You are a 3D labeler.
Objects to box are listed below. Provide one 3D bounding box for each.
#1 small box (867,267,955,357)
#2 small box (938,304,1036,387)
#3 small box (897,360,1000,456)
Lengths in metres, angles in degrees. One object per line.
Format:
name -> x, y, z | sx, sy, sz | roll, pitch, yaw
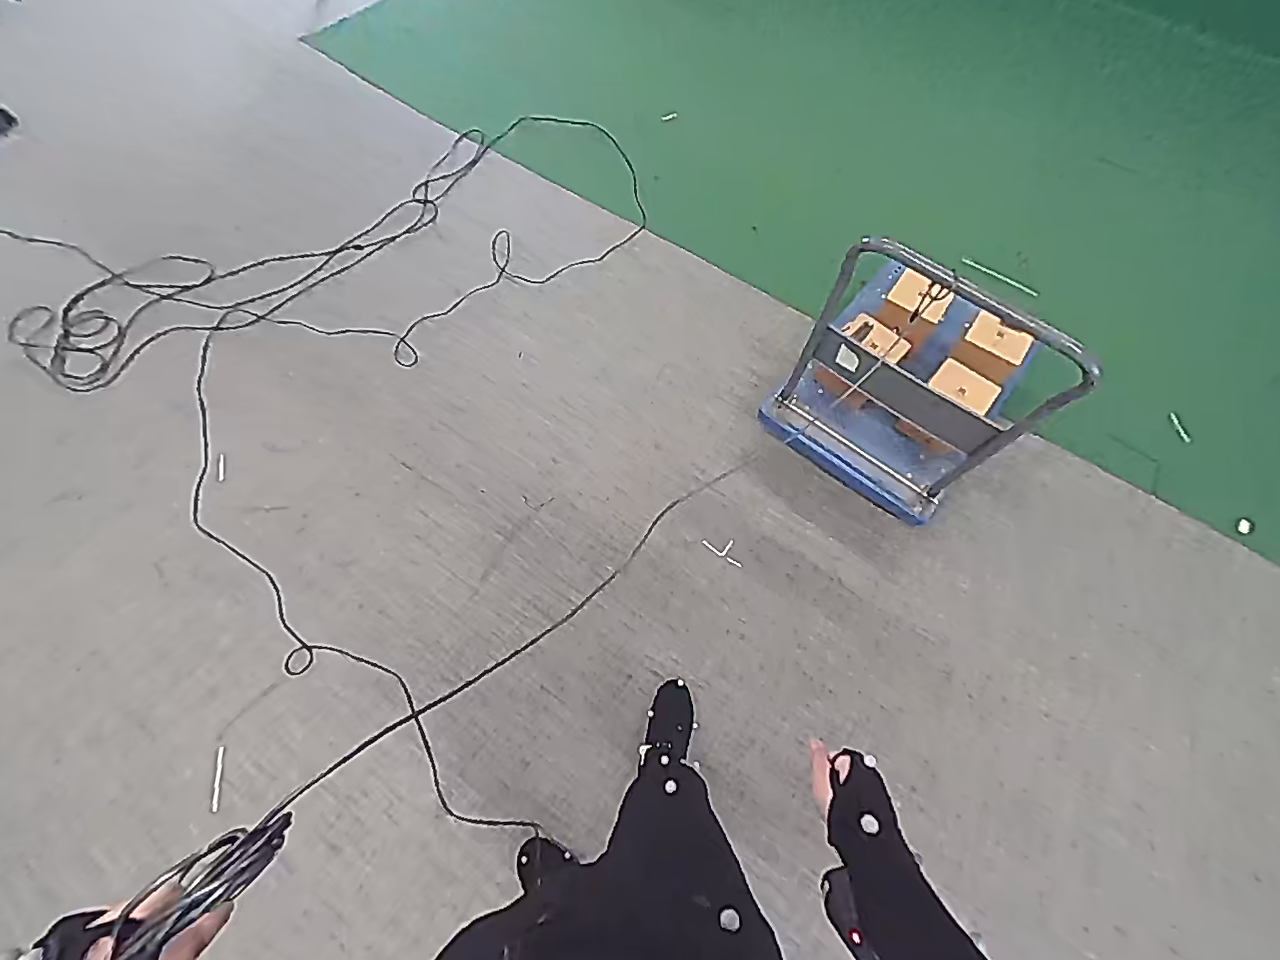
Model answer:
small box -> 0.849, -0.527, 1.713 | 0.168, 0.176, 0.179 | 34, 68, 13
small box -> 1.054, -0.392, 1.655 | 0.168, 0.176, 0.179 | 34, 69, 14
small box -> 0.881, -0.205, 1.563 | 0.168, 0.176, 0.179 | 38, 70, 15
